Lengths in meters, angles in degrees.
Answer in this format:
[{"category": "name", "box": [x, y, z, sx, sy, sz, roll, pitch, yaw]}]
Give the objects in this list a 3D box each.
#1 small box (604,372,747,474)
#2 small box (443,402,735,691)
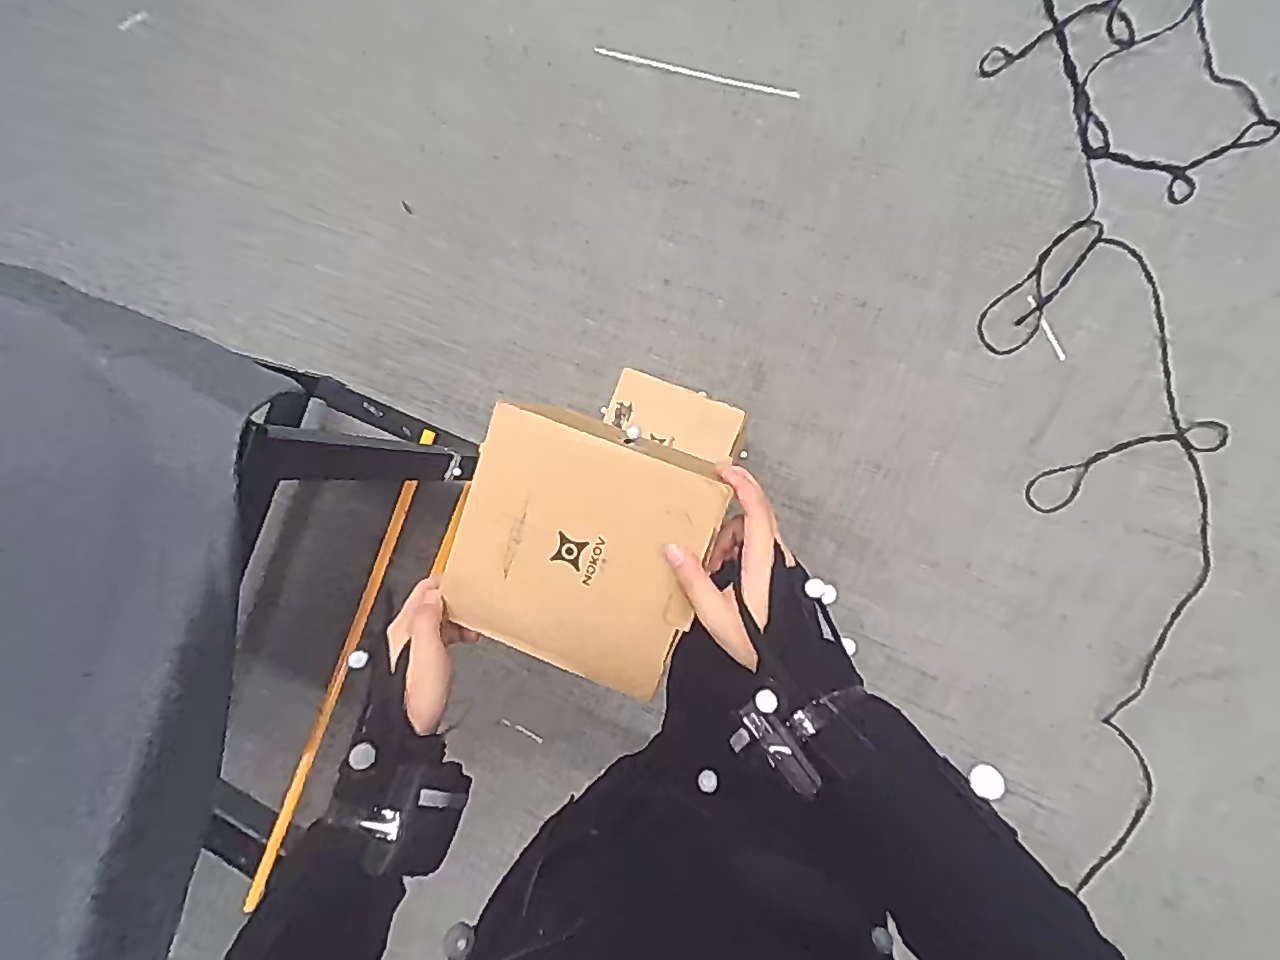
[{"category": "small box", "box": [0.040, -0.036, 0.783, 0.179, 0.176, 0.168, 23, 92, 9]}, {"category": "small box", "box": [-0.030, 0.041, 0.464, 0.179, 0.176, 0.168, 20, 96, 7]}]
